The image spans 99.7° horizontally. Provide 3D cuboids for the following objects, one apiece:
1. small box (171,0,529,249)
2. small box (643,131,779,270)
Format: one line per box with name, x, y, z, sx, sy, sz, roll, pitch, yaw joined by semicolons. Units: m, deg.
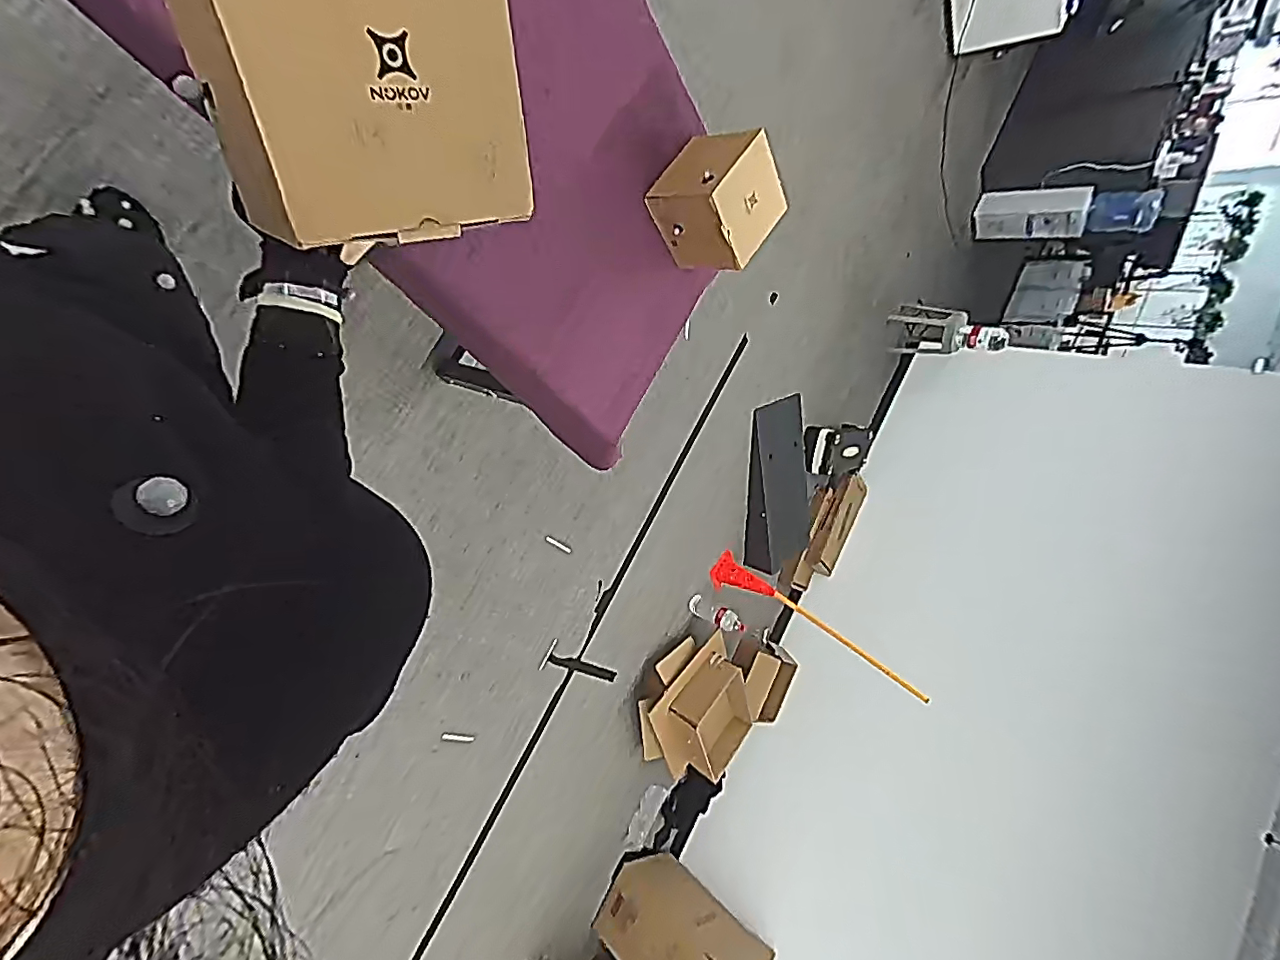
small box;-0.201;-0.278;0.383;0.168;0.176;0.179;-27;131;-32
small box;0.137;-0.538;1.049;0.179;0.176;0.168;-55;138;-11
